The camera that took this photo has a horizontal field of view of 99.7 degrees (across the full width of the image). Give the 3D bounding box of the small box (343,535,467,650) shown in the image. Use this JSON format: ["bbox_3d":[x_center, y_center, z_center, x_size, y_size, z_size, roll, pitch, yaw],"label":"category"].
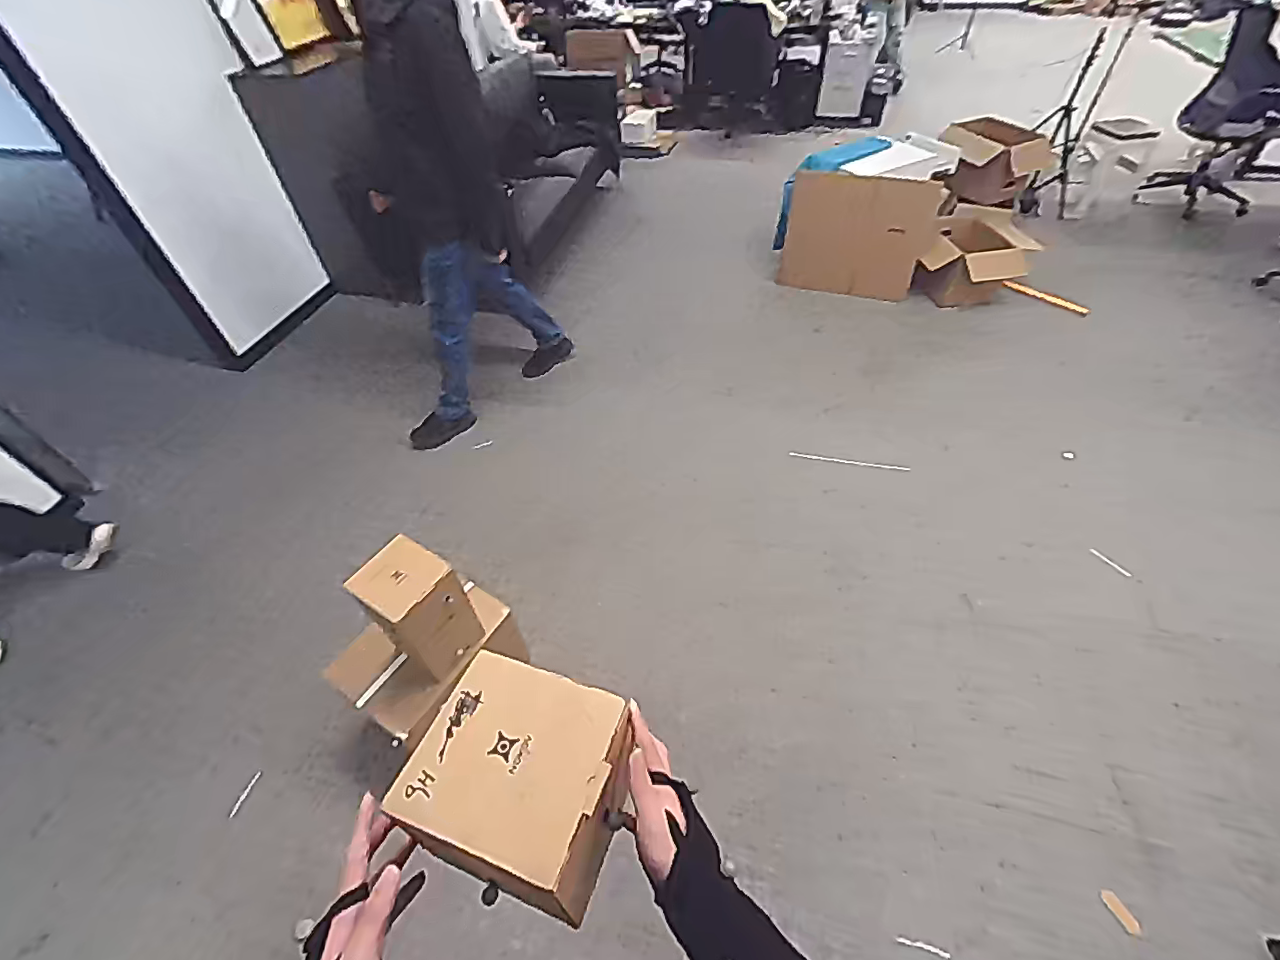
[{"bbox_3d":[-0.530,0.265,1.248,0.179,0.176,0.168,25,53,22],"label":"small box"}]

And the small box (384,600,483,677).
[{"bbox_3d":[-0.530,0.368,1.374,0.179,0.176,0.168,27,55,22],"label":"small box"}]
